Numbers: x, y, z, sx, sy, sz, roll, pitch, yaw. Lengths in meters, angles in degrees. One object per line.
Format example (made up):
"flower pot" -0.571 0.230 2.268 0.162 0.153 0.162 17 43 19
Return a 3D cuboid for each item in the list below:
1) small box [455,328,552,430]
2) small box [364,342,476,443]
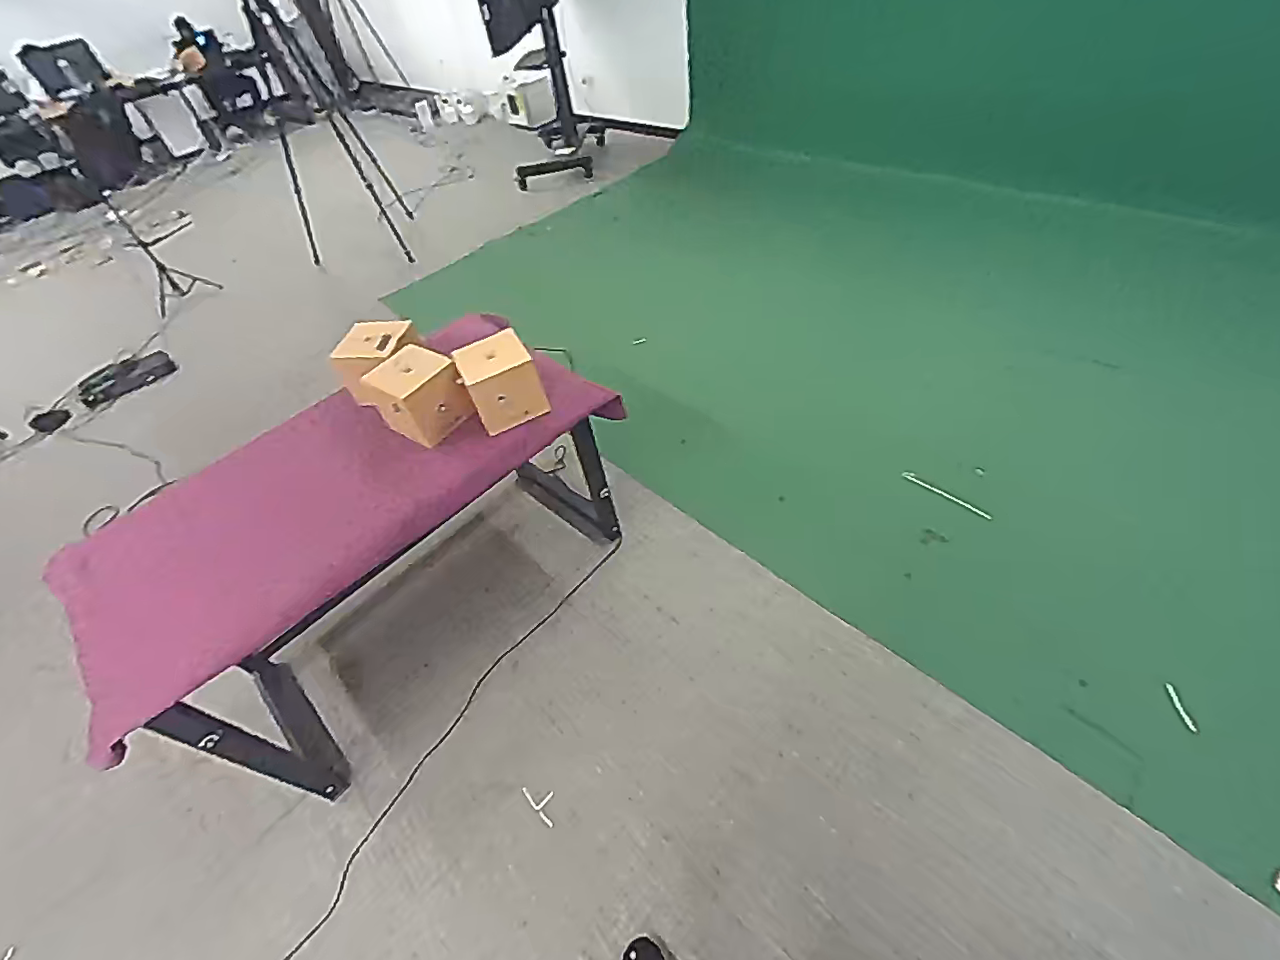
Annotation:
"small box" -0.342 -0.249 1.370 0.168 0.176 0.179 -26 47 -11
"small box" -0.552 -0.219 1.381 0.179 0.176 0.168 25 57 28
